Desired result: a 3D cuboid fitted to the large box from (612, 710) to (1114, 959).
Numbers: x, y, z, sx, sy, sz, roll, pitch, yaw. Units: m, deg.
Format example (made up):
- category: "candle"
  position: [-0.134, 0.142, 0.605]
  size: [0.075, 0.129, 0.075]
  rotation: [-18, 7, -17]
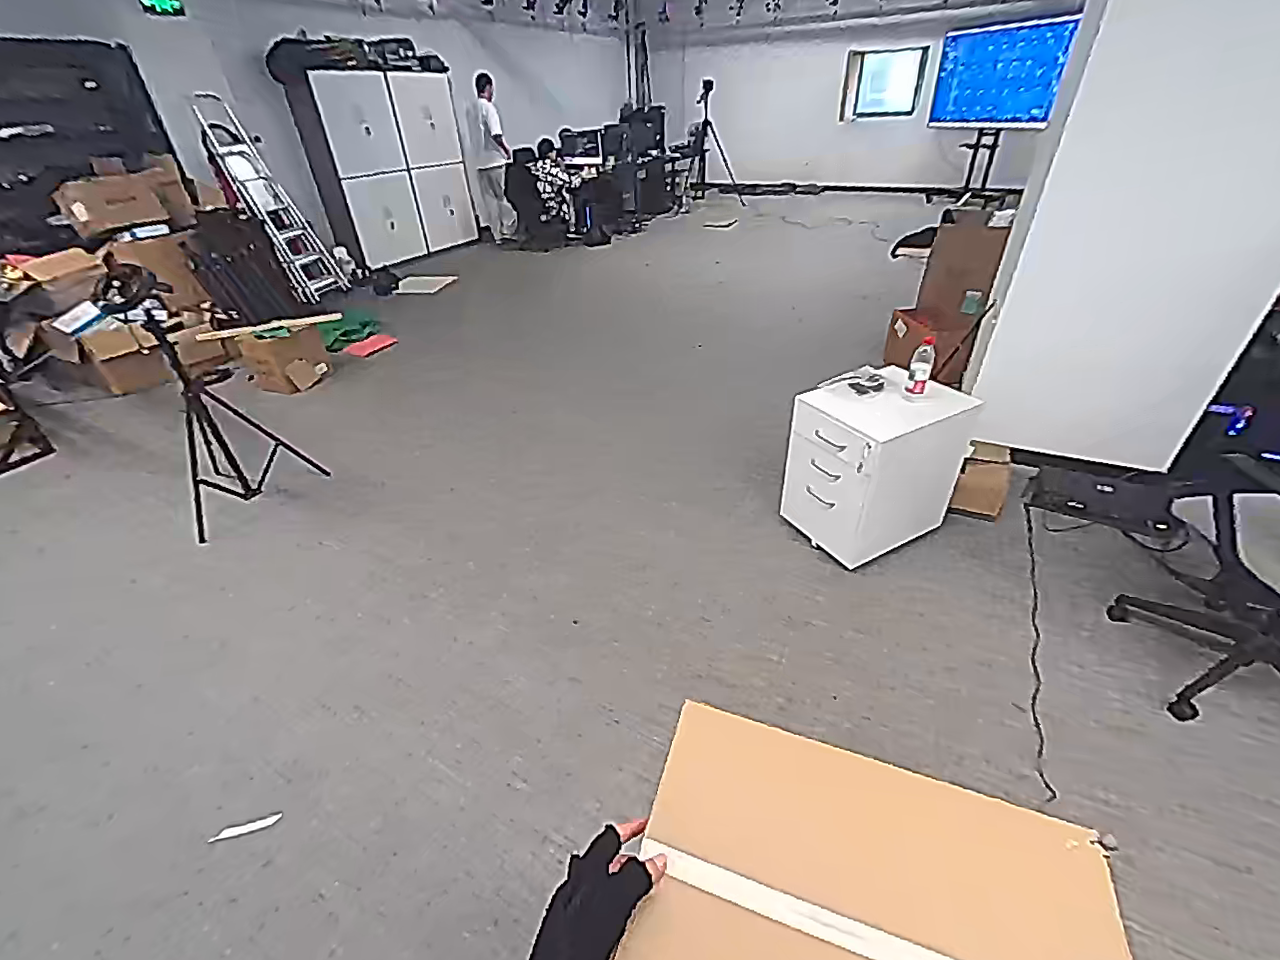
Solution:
- category: "large box"
  position: [0.191, 0.508, 0.561]
  size: [0.408, 0.320, 0.320]
  rotation: [12, 43, 15]
